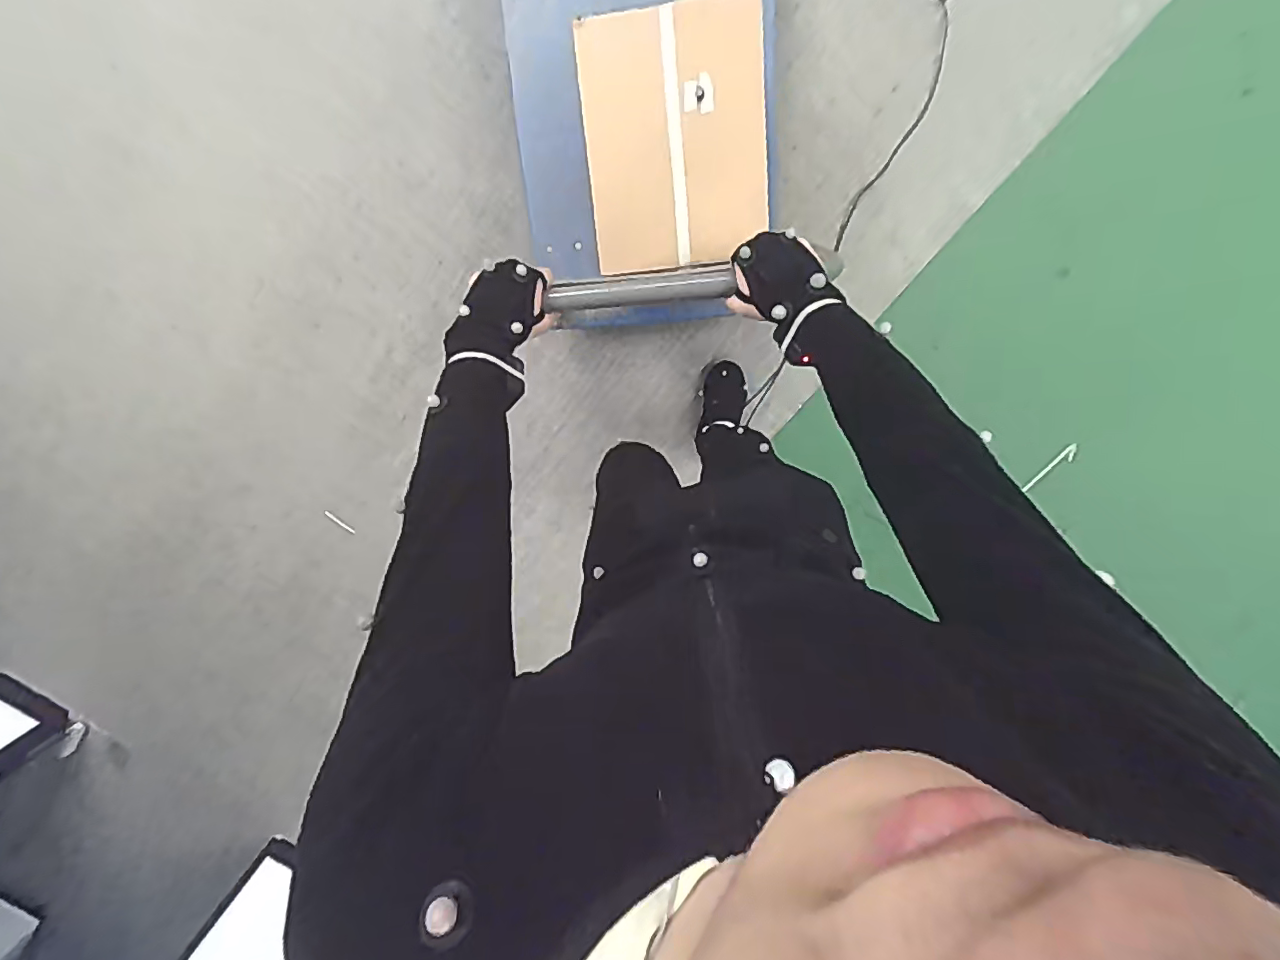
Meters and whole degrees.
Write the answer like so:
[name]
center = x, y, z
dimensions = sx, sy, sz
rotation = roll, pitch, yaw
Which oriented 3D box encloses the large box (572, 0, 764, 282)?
[large box]
center = 0.069, -0.641, 1.102
dimensions = 0.320, 0.320, 0.408
rotation = -4, 106, 5
